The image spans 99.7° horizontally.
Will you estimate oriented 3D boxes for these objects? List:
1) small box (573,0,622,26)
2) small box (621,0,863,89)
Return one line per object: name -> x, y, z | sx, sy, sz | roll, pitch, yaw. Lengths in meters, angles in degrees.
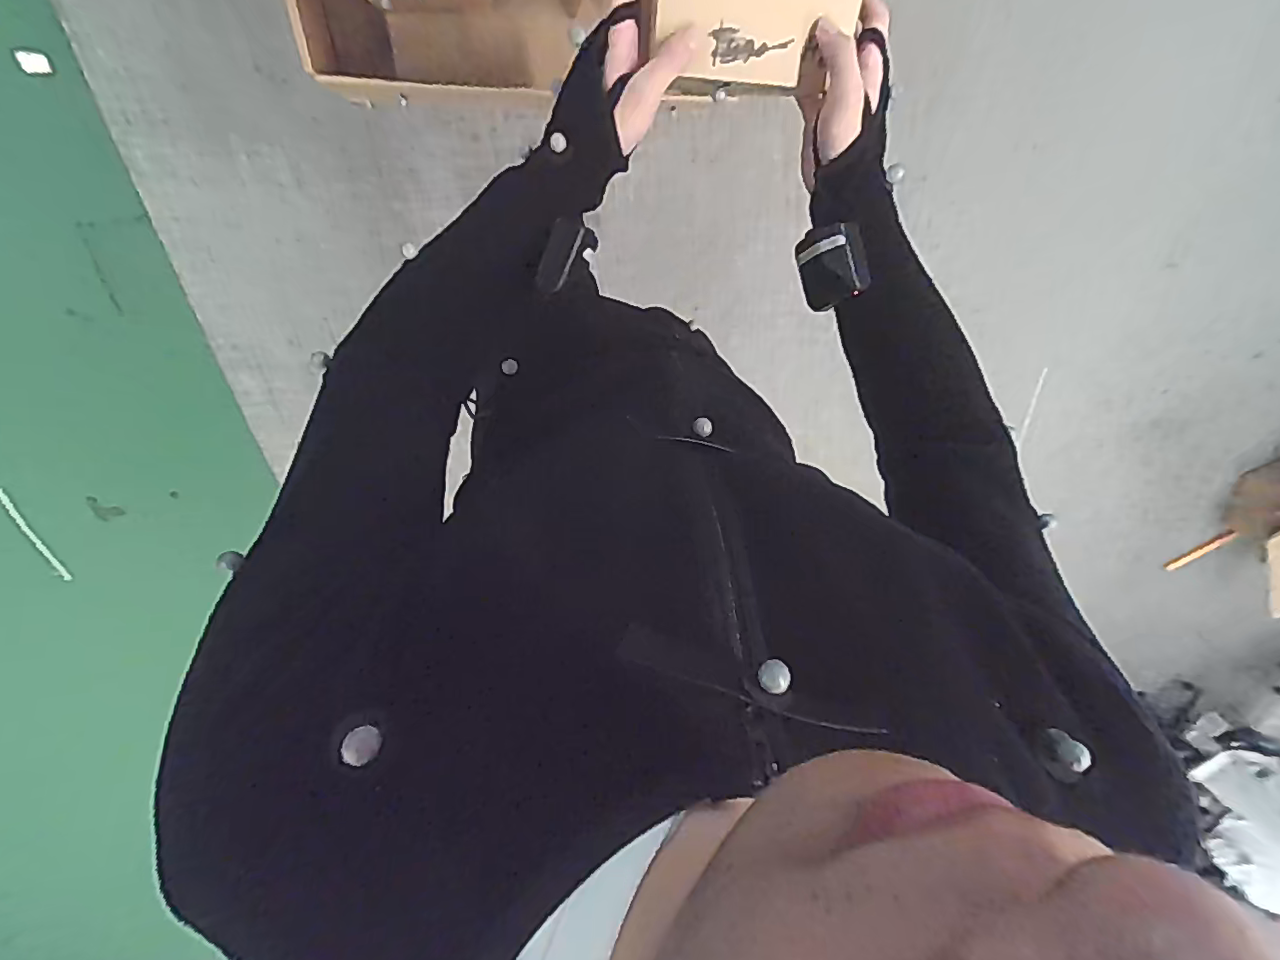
small box -> -0.003, -0.750, 0.741 | 0.168, 0.176, 0.179 | -3, 122, -12
small box -> 0.080, -0.445, 0.451 | 0.168, 0.176, 0.179 | -3, 124, -12
